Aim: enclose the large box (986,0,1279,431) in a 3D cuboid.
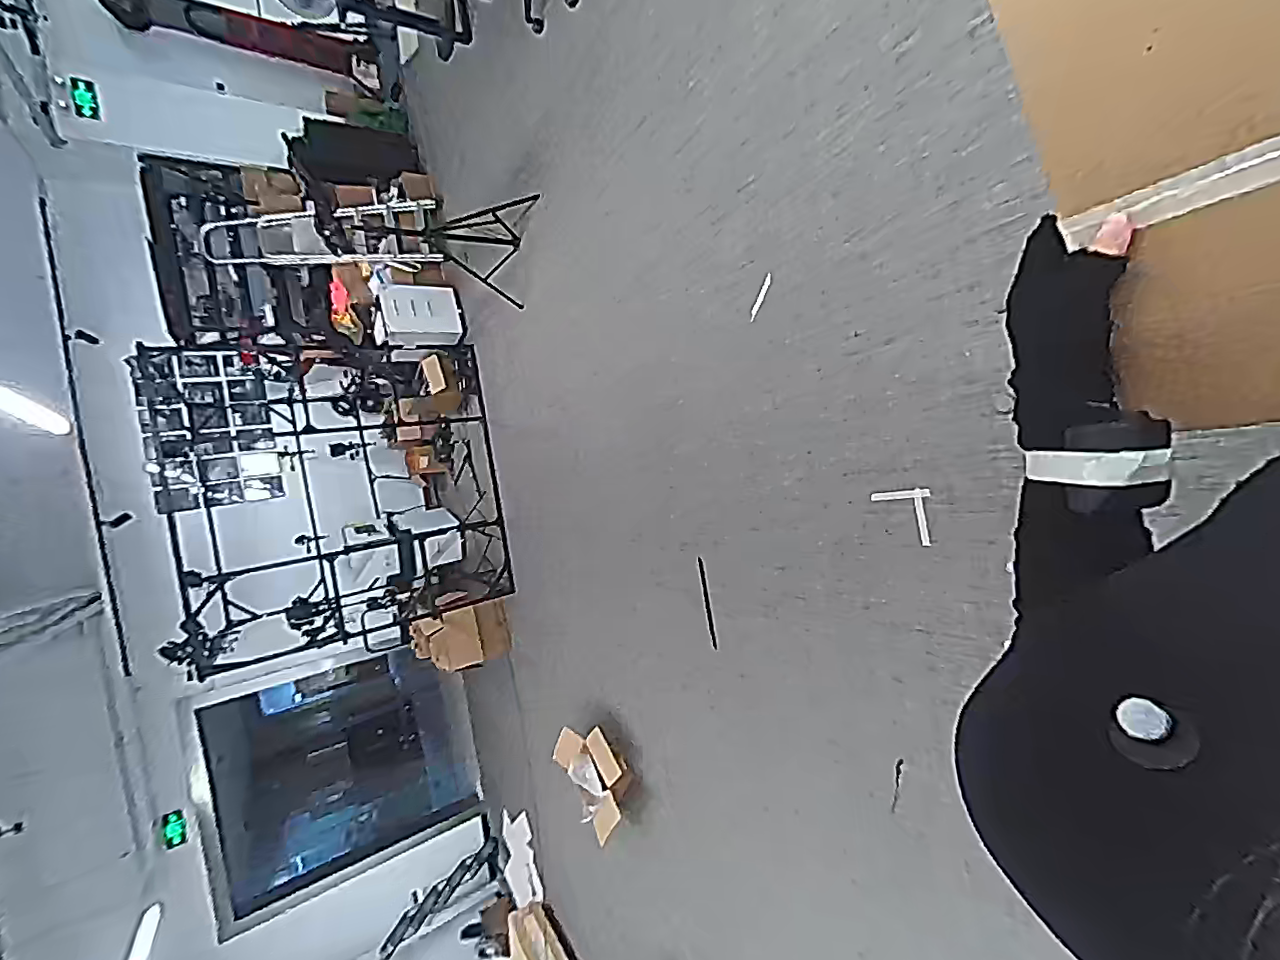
[{"bbox_3d":[0.492,-0.263,0.273,0.408,0.320,0.320,-8,118,57],"label":"large box"}]
